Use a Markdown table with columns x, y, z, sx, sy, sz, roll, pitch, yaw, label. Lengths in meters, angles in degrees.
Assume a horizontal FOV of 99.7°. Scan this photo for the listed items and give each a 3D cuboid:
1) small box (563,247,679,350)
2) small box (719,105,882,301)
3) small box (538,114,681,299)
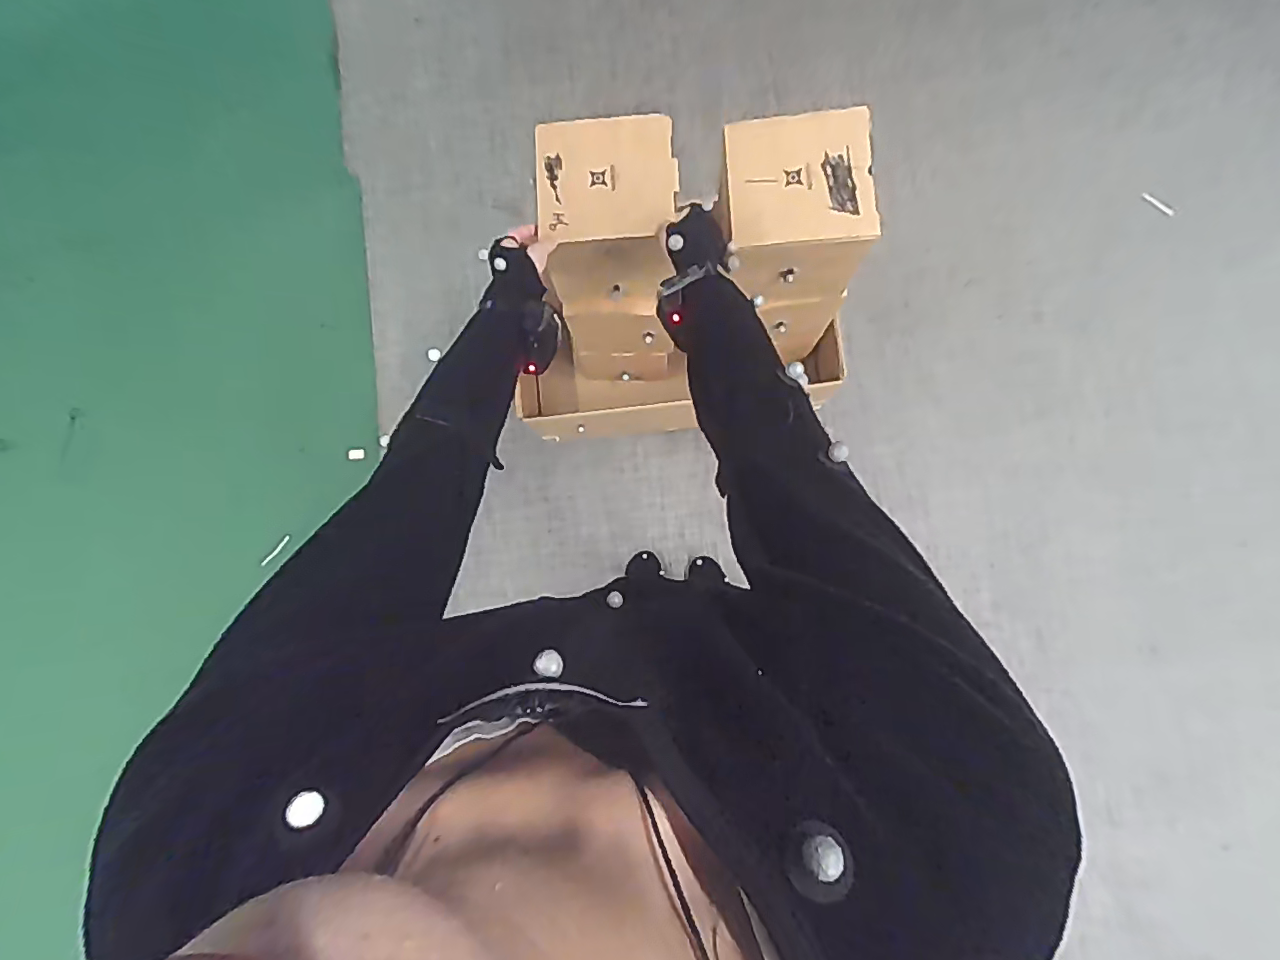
| x | y | z | sx | sy | sz | roll | pitch | yaw | label |
| --- | --- | --- | --- | --- | --- | --- | --- | --- | --- |
| -0.026 | -0.326 | 0.908 | 0.179 | 0.176 | 0.168 | 1 | 83 | 2 | small box |
| 0.201 | -0.355 | 0.723 | 0.179 | 0.176 | 0.168 | -3 | 84 | 6 | small box |
| -0.039 | -0.367 | 0.749 | 0.179 | 0.176 | 0.168 | -3 | 82 | 1 | small box |
